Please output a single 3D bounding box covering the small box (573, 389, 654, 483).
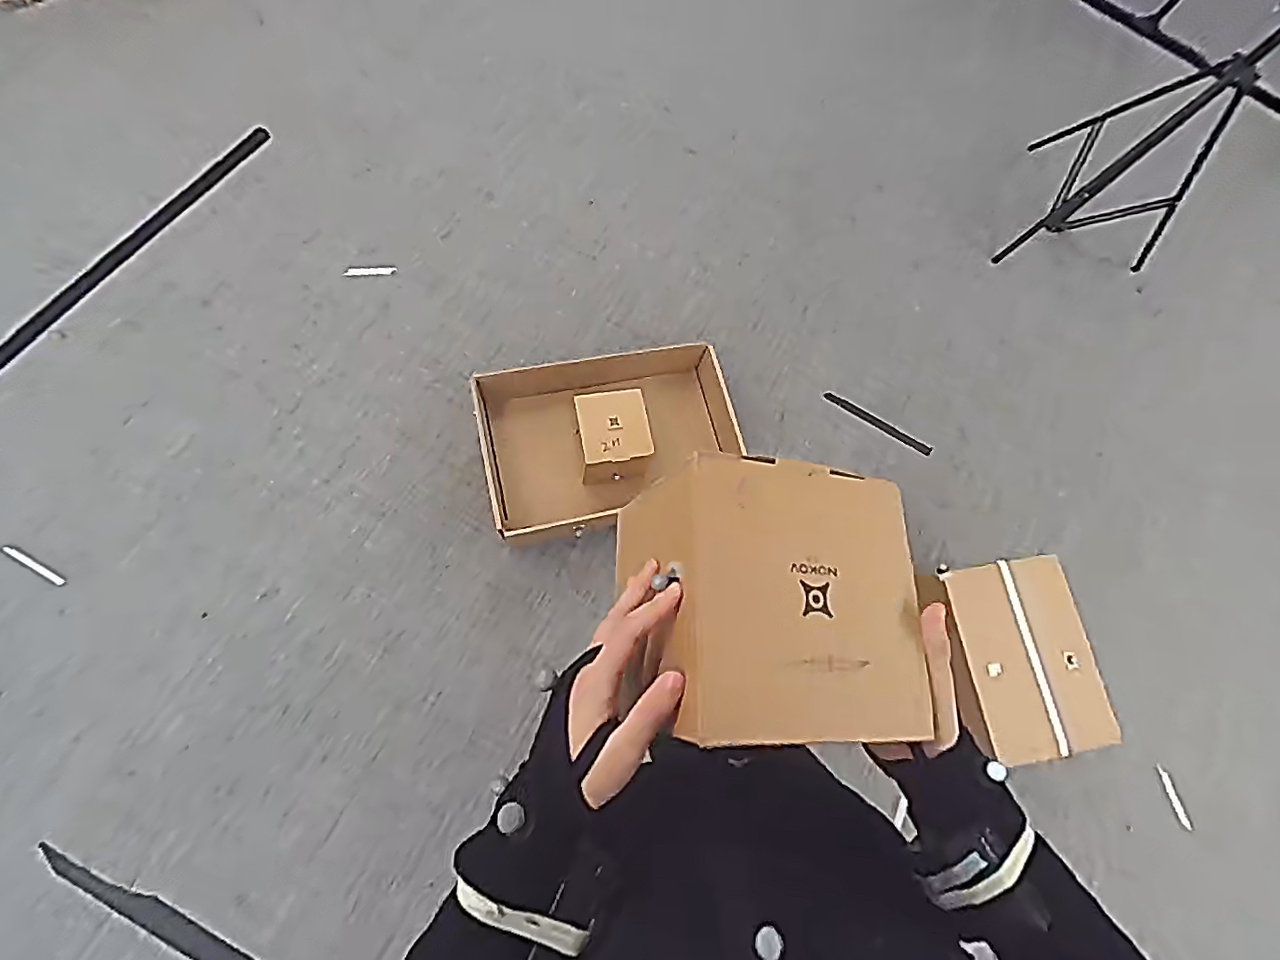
[{"bbox_3d":[-0.073,-0.106,1.346,0.168,0.176,0.179,-8,75,-11],"label":"small box"}]

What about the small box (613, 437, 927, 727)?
[{"bbox_3d":[0.083,0.089,0.419,0.168,0.176,0.179,9,69,-19],"label":"small box"}]
